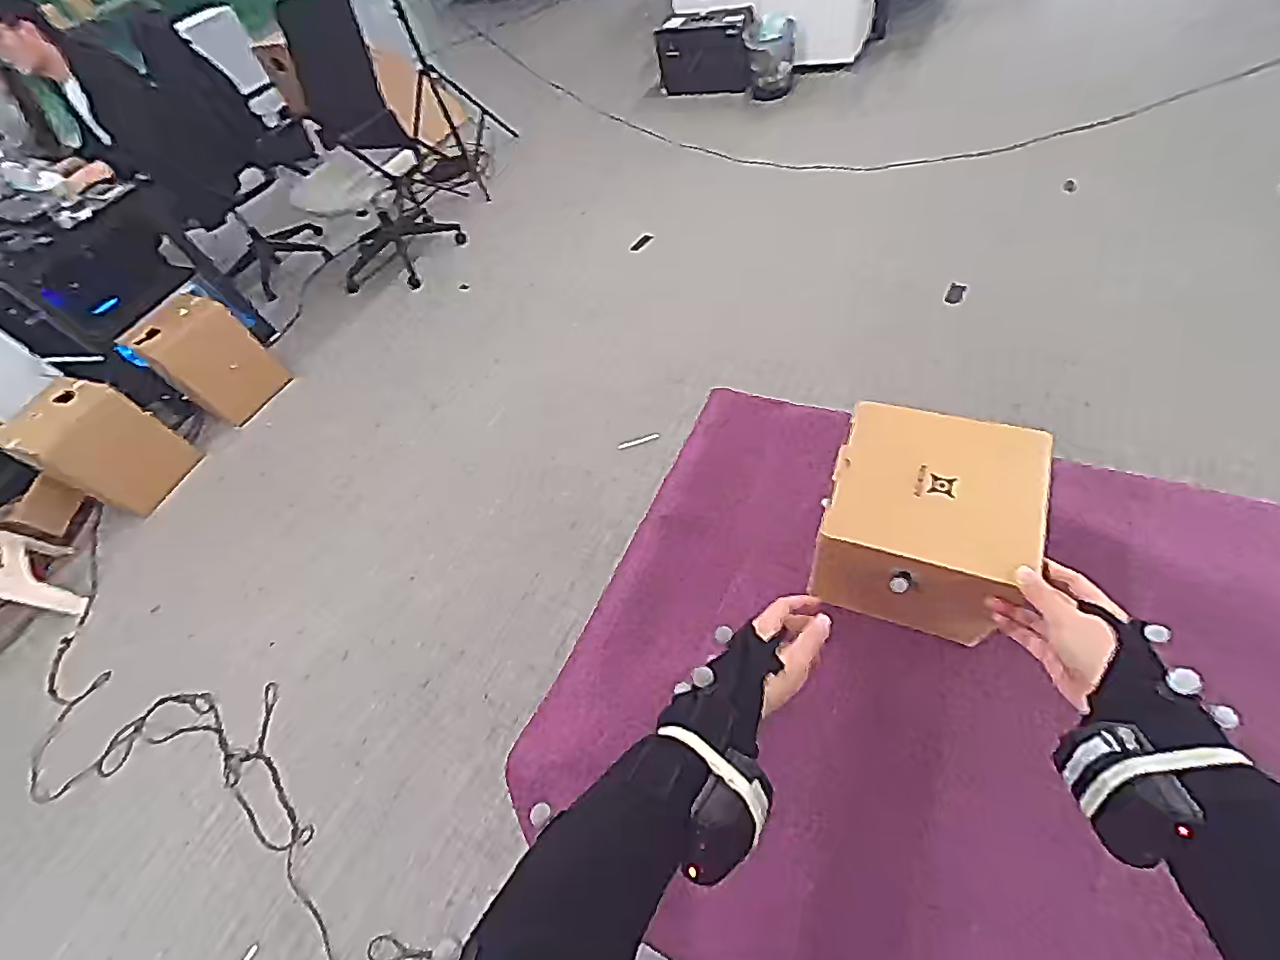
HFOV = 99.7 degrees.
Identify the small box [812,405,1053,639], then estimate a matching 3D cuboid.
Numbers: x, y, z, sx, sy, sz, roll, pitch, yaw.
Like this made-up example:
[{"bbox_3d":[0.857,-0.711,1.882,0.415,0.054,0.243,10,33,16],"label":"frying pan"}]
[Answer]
[{"bbox_3d":[0.292,0.050,0.569,0.179,0.176,0.168,15,62,22],"label":"small box"}]
